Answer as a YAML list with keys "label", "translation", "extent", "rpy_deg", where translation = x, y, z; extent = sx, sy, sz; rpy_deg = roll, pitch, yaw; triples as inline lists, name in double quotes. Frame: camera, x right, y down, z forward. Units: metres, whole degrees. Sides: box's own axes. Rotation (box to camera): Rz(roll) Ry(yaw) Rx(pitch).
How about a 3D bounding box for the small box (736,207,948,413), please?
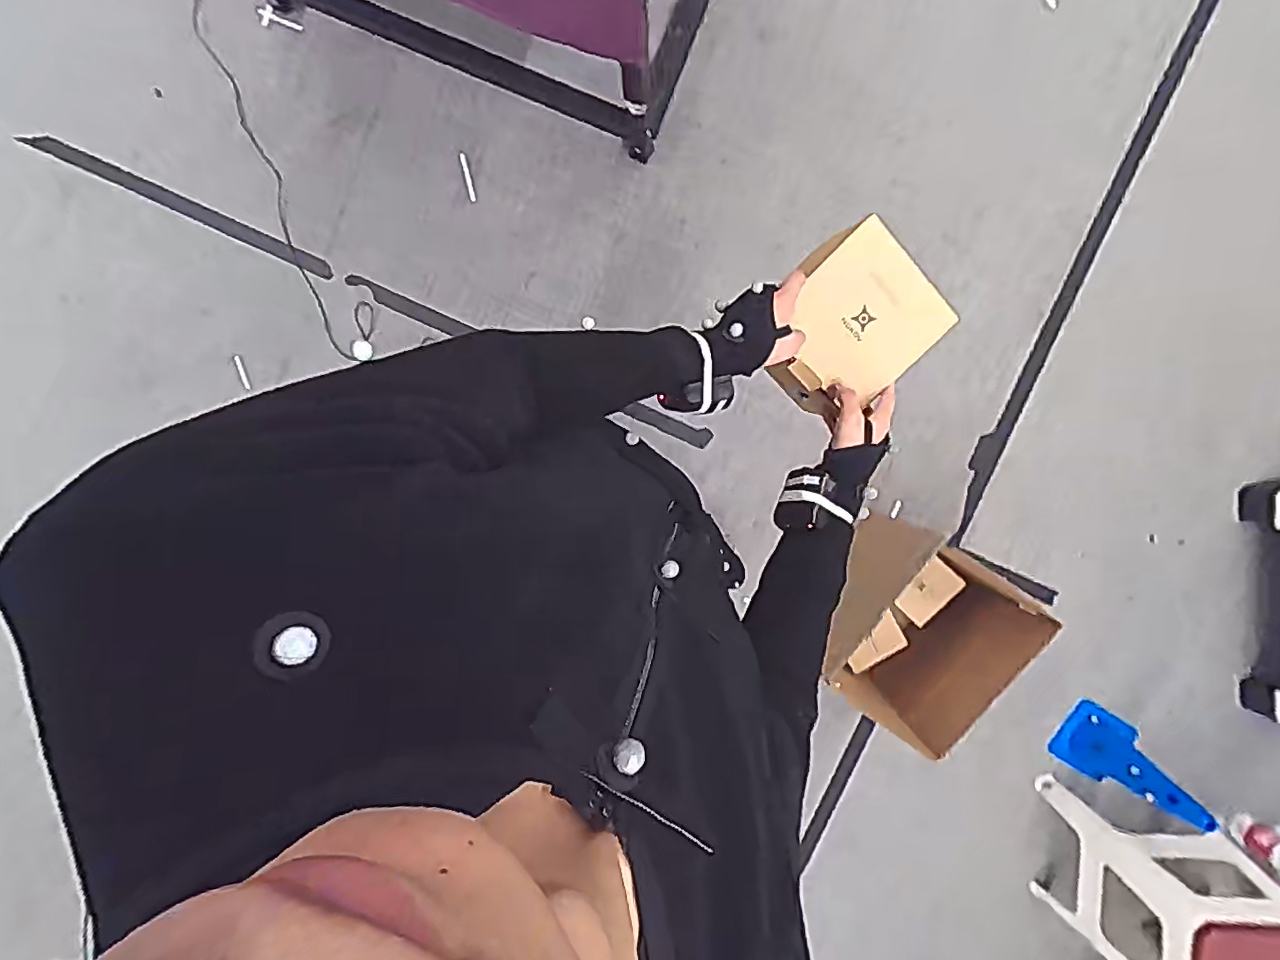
- label: "small box"
  translation: [0.244, -0.209, 0.710]
  extent: [0.179, 0.176, 0.168]
  rpy_deg: [-45, 100, 6]
